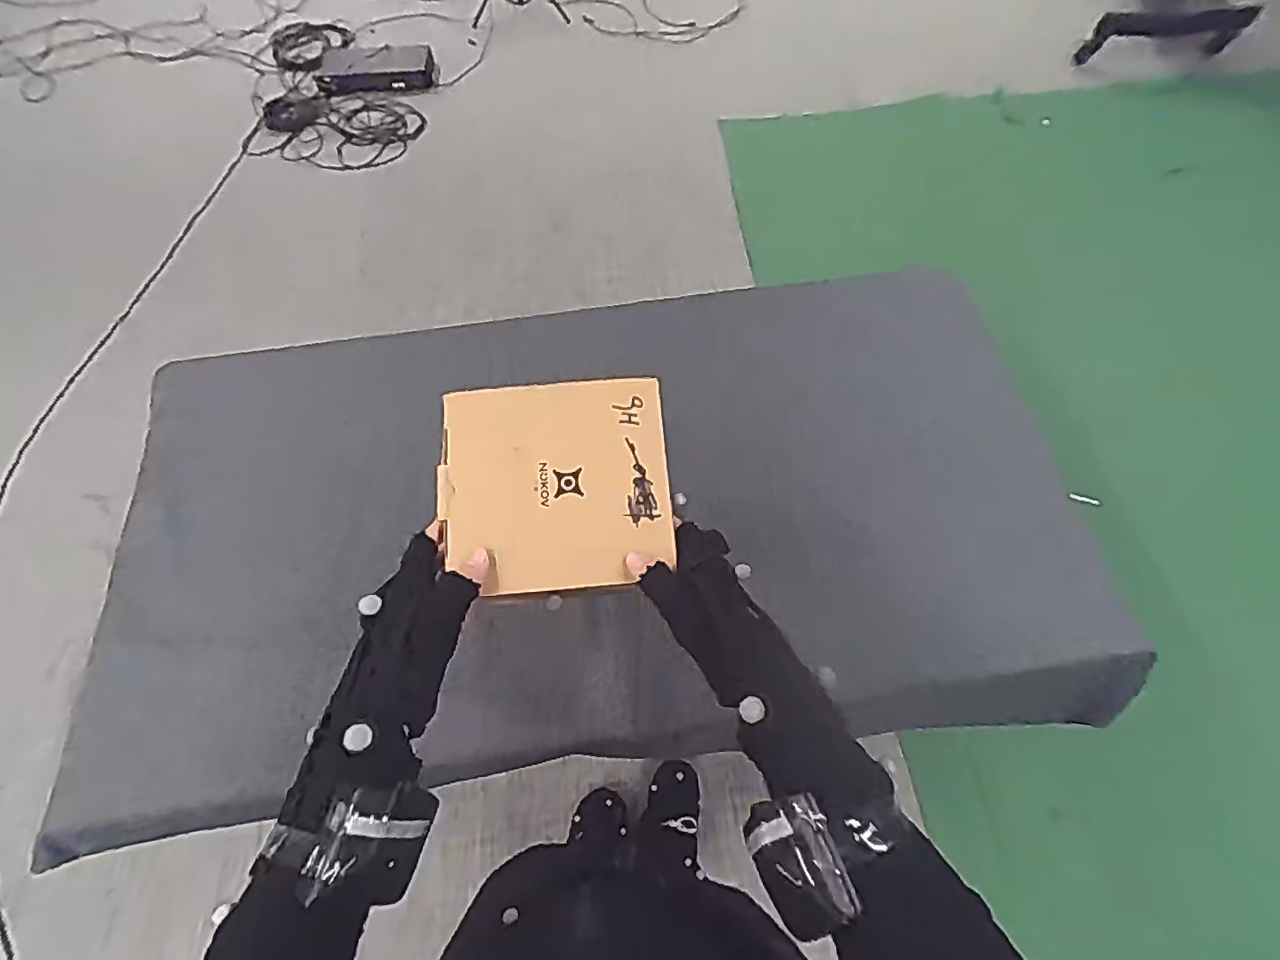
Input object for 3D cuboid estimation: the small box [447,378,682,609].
[{"bbox_3d":[-0.064,0.024,0.502,0.179,0.176,0.168,-7,75,-4],"label":"small box"}]
